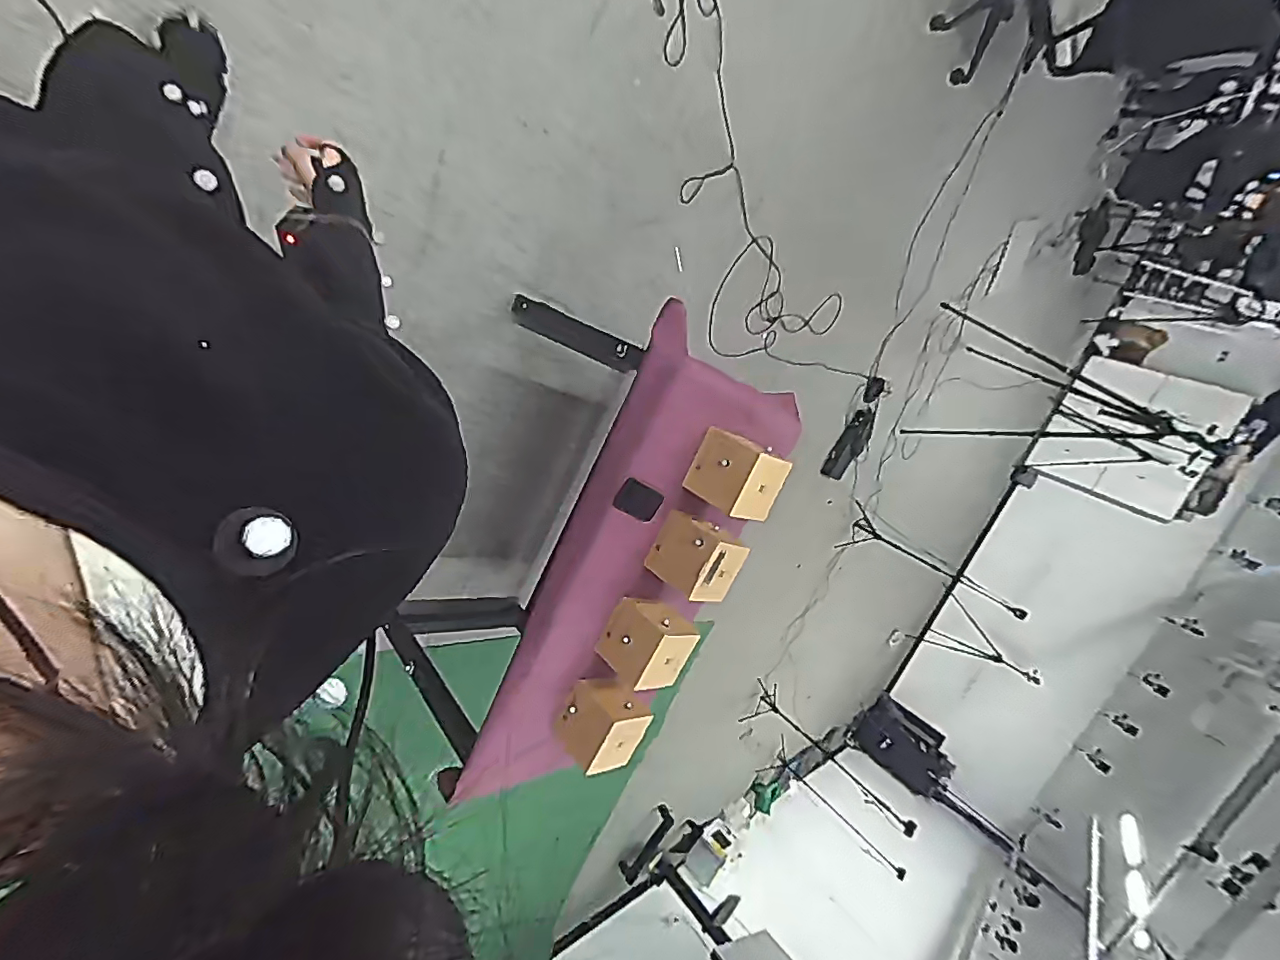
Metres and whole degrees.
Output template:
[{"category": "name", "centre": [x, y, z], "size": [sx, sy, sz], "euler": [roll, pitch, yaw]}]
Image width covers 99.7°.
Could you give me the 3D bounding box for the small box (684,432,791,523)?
[{"category": "small box", "centre": [0.240, -0.009, 1.352], "size": [0.179, 0.176, 0.168], "euler": [11, 107, -50]}]

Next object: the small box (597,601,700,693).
[{"category": "small box", "centre": [0.018, 0.435, 1.424], "size": [0.179, 0.176, 0.168], "euler": [20, 101, -51]}]

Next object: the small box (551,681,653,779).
[{"category": "small box", "centre": [-0.103, 0.663, 1.457], "size": [0.179, 0.176, 0.168], "euler": [23, 97, -51]}]
